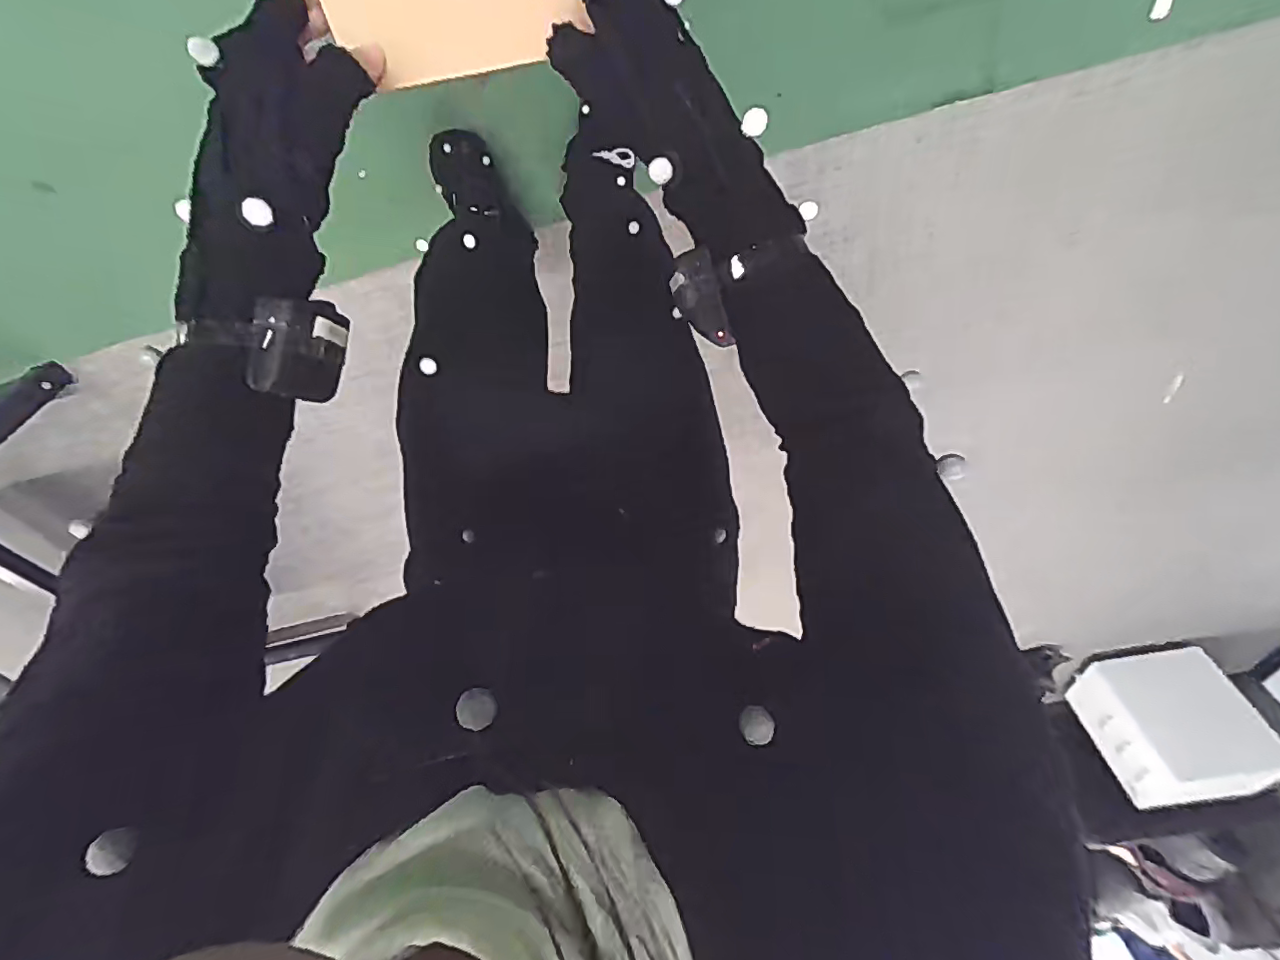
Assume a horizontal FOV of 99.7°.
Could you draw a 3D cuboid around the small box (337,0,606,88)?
[{"bbox_3d":[-0.127,-0.396,0.366,0.168,0.176,0.179,-12,134,0],"label":"small box"}]
